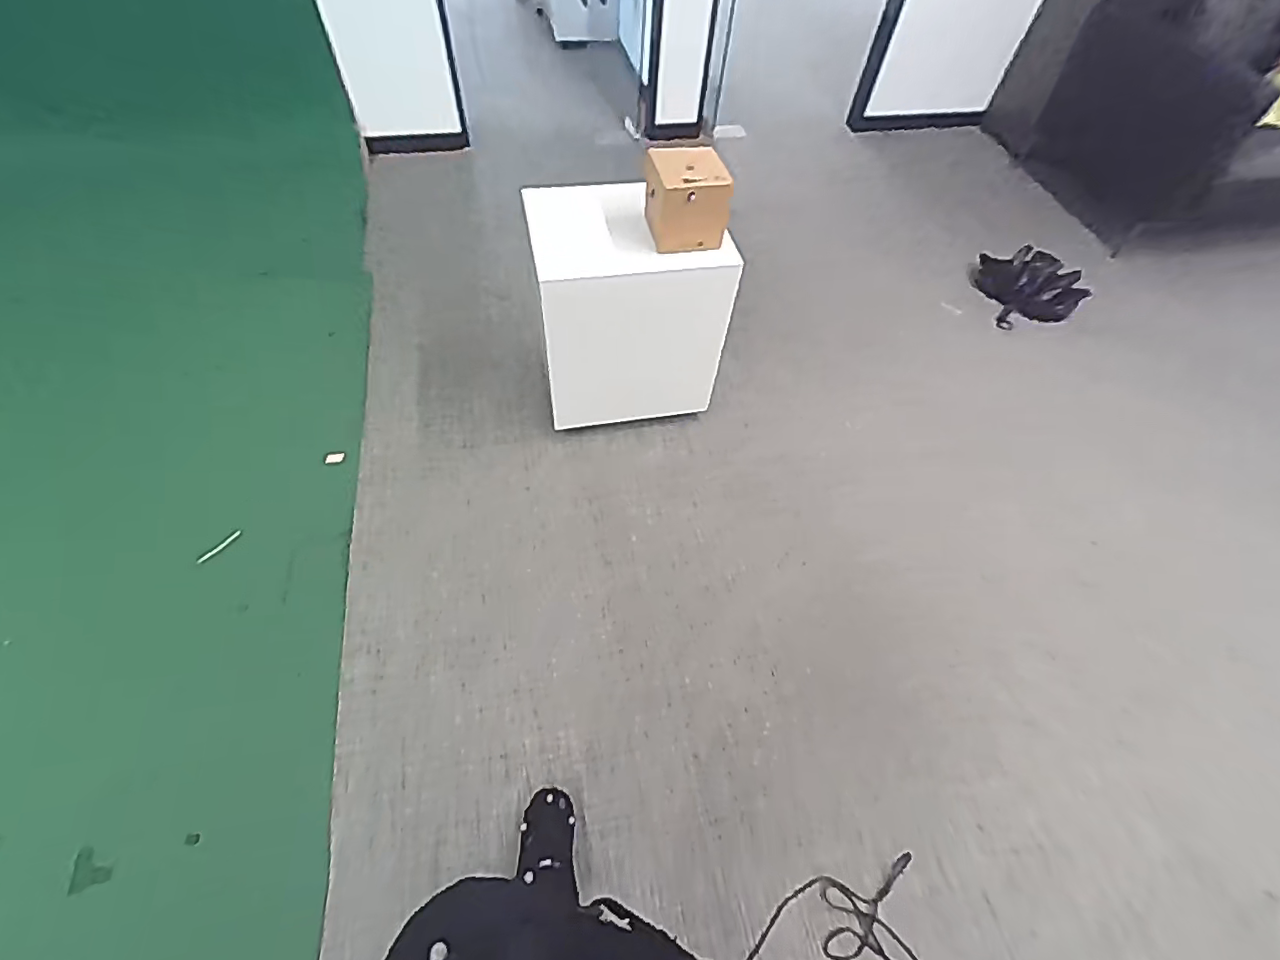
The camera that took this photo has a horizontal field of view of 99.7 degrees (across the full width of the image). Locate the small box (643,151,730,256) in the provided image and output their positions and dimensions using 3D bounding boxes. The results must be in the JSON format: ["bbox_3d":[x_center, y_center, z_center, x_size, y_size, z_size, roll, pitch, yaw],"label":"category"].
[{"bbox_3d":[0.105,-0.682,1.336,0.168,0.176,0.179,-10,57,-9],"label":"small box"}]
